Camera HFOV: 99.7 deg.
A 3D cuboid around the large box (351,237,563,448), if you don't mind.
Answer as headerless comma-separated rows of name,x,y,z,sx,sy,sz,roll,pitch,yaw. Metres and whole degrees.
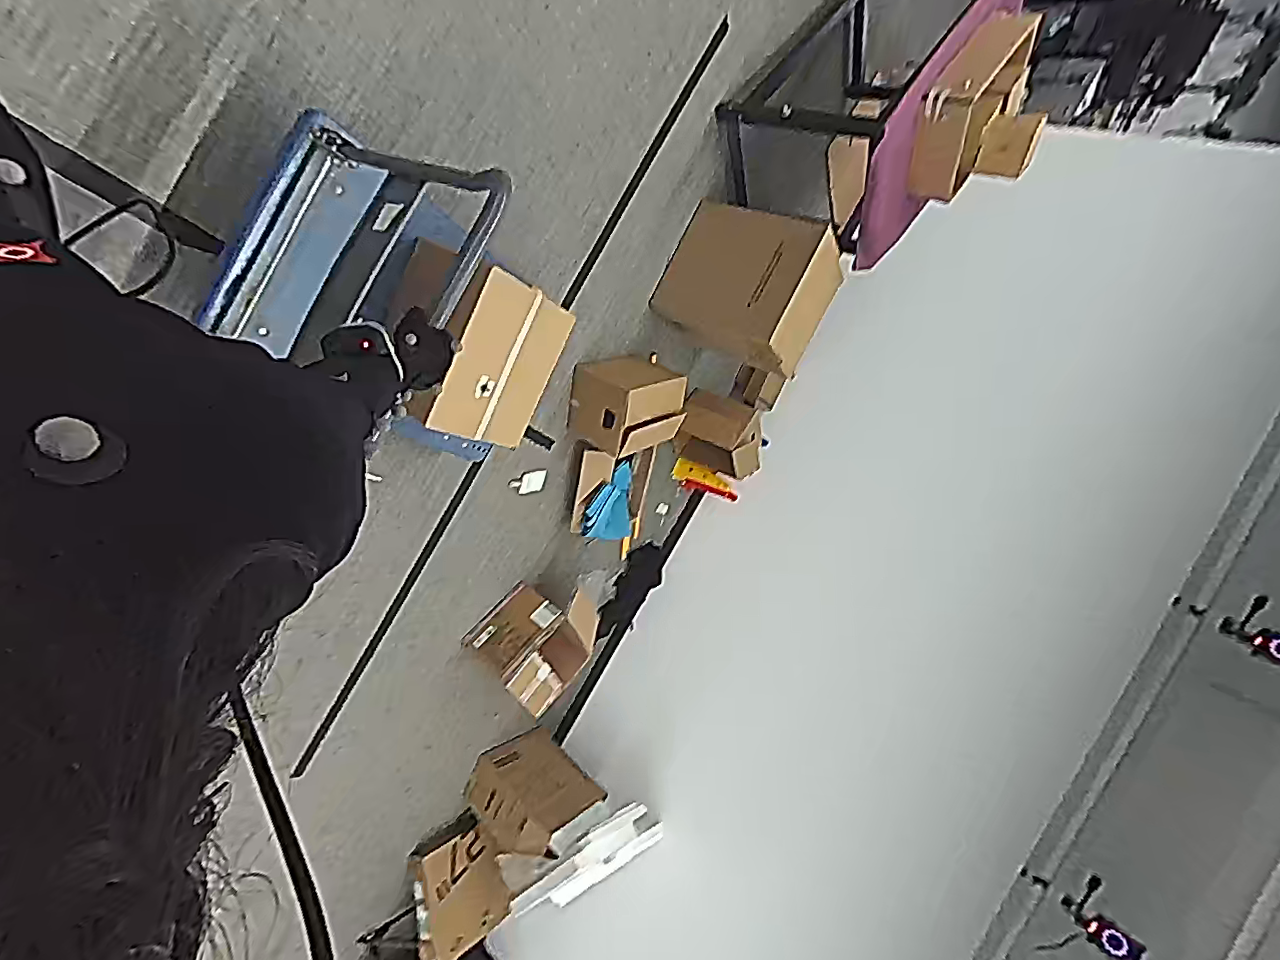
large box,-0.477,-0.349,1.422,0.320,0.320,0.408,15,104,-60
